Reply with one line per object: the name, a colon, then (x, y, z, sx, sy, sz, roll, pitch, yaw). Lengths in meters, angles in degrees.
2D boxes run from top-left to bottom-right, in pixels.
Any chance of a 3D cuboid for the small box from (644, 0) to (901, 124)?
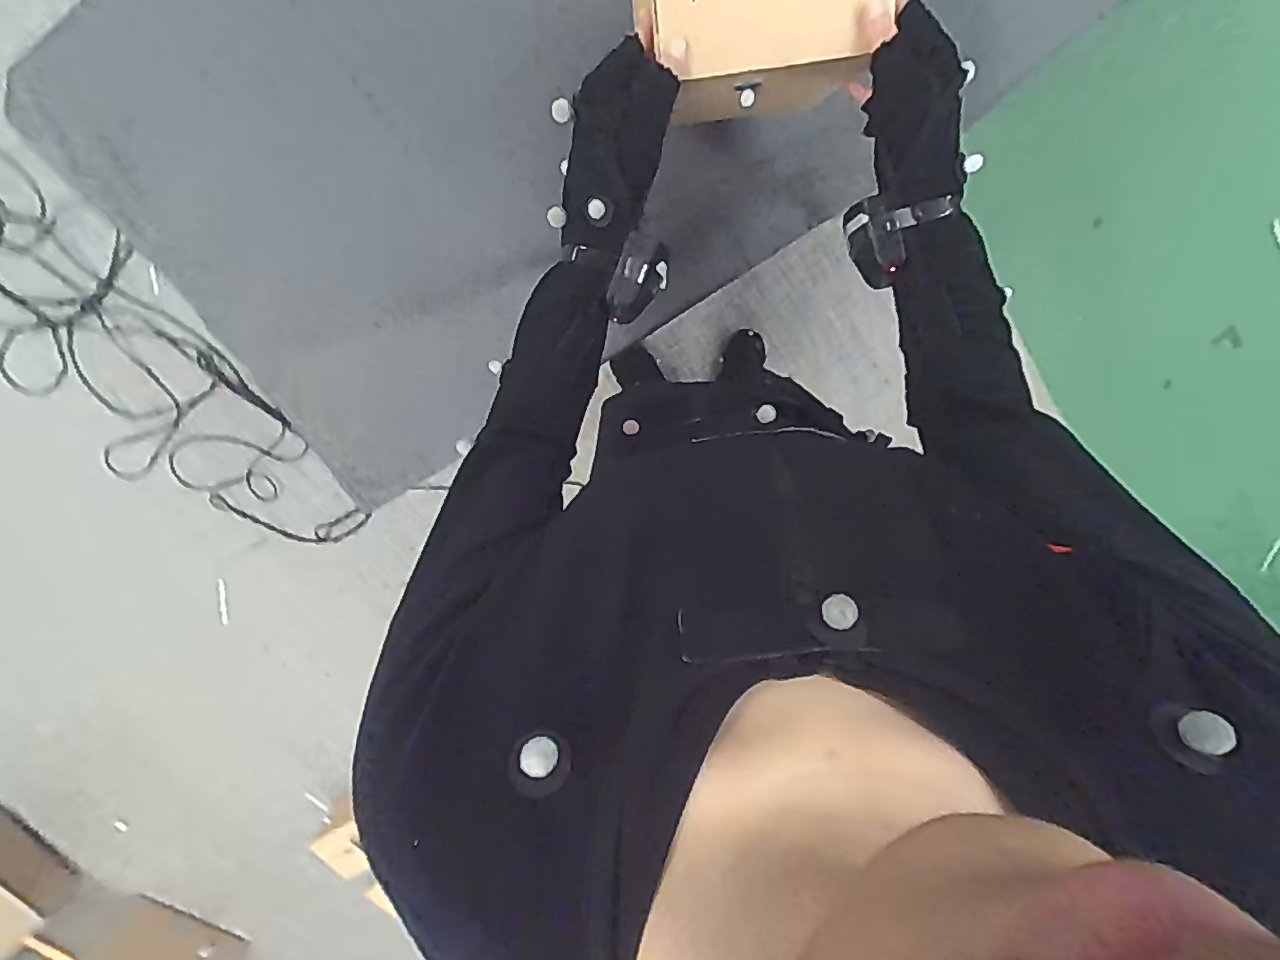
small box: (0.092, -0.410, 0.440, 0.179, 0.176, 0.168, -7, 114, 0)
